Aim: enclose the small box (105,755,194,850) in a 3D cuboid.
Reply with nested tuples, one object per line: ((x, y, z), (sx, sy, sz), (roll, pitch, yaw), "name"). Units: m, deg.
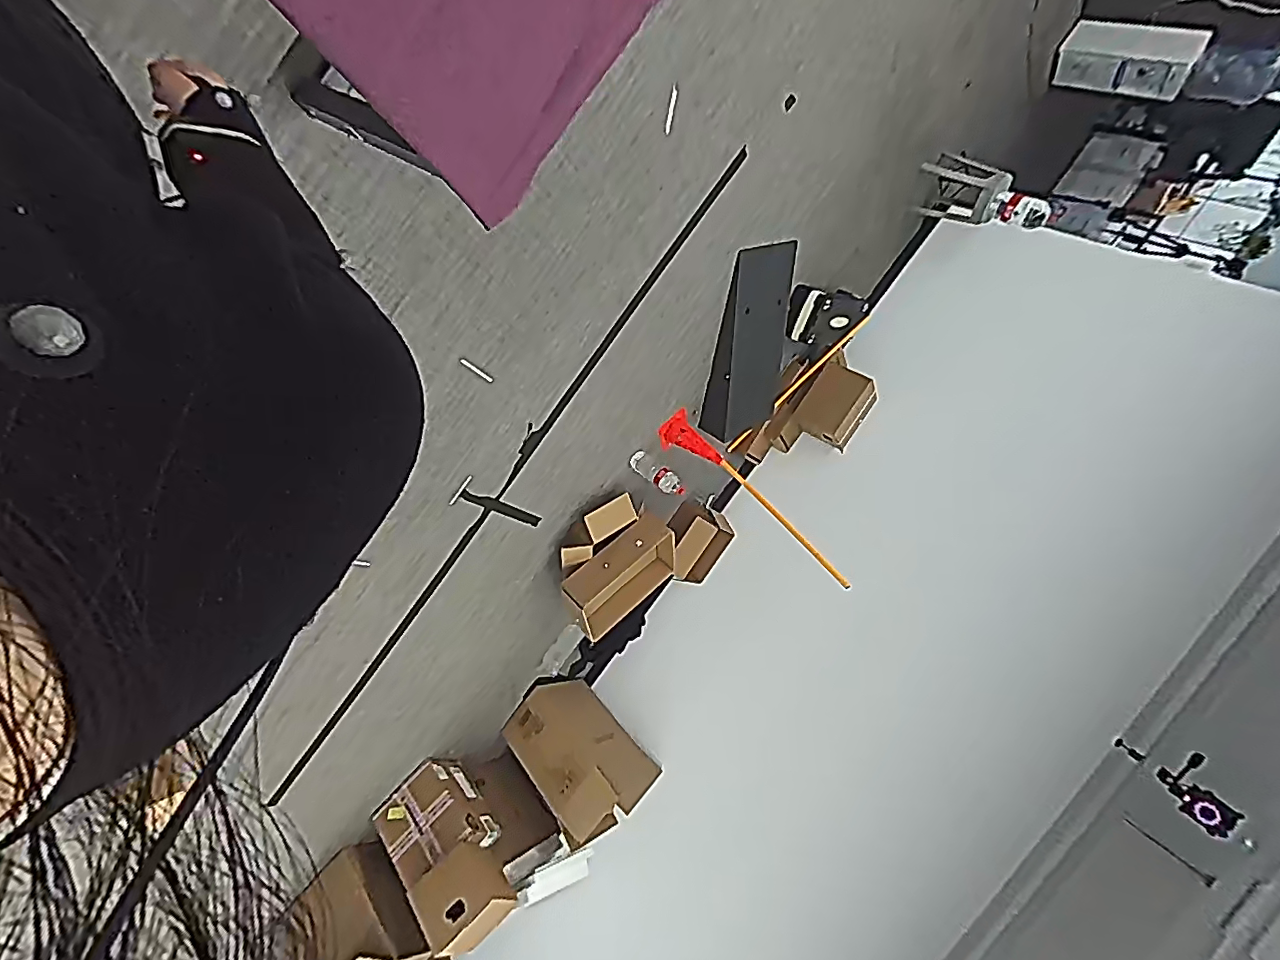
((-1.569, 1.020, 1.730), (0.168, 0.176, 0.179), (-20, 138, -41), "small box")
